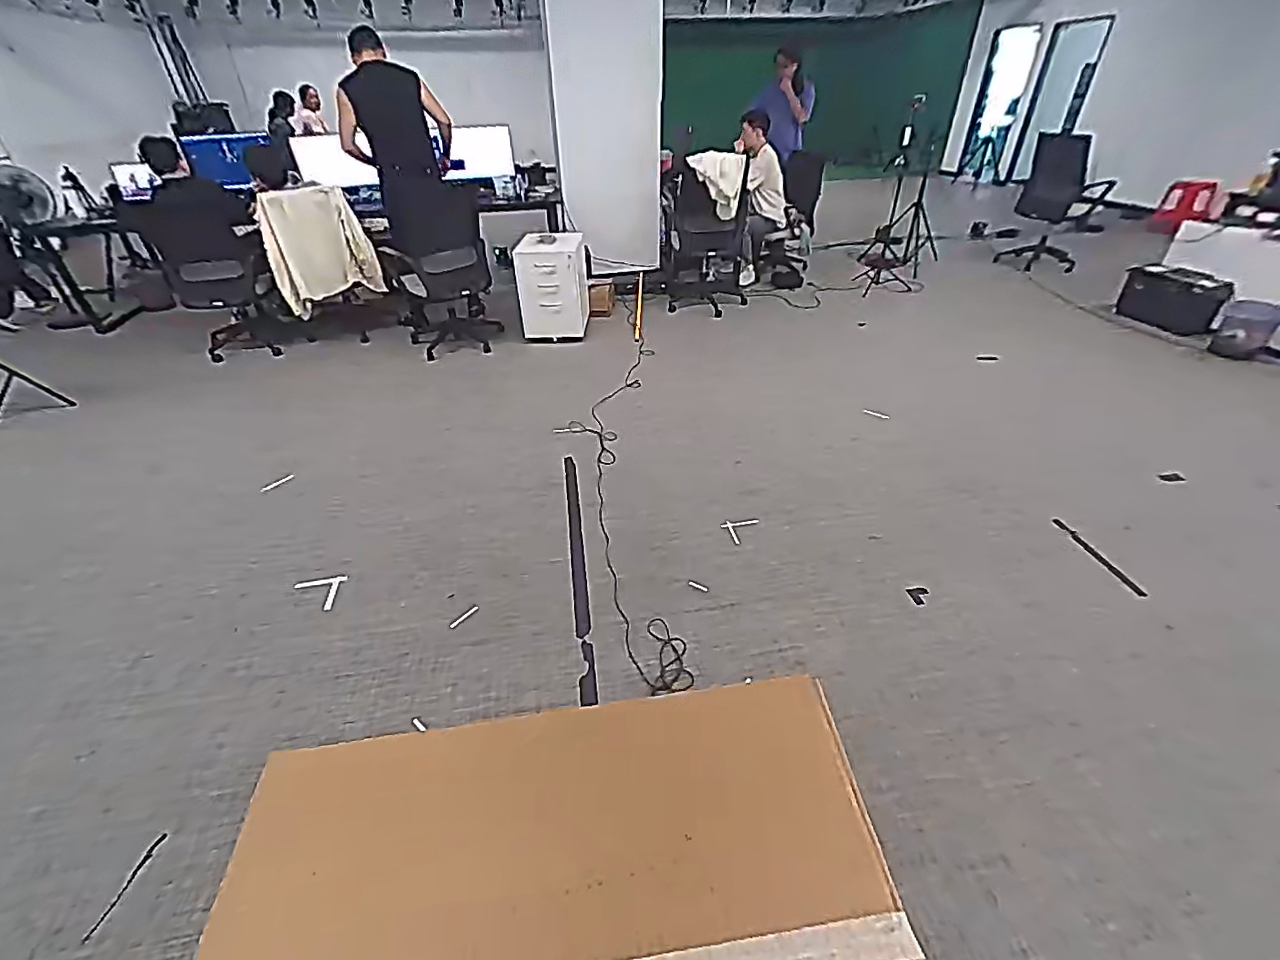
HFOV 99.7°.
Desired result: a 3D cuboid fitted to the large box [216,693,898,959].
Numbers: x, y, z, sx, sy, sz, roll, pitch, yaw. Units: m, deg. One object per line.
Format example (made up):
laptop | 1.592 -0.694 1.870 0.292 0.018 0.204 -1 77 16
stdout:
large box | -0.039 0.401 0.398 0.408 0.320 0.320 -8 42 -3
